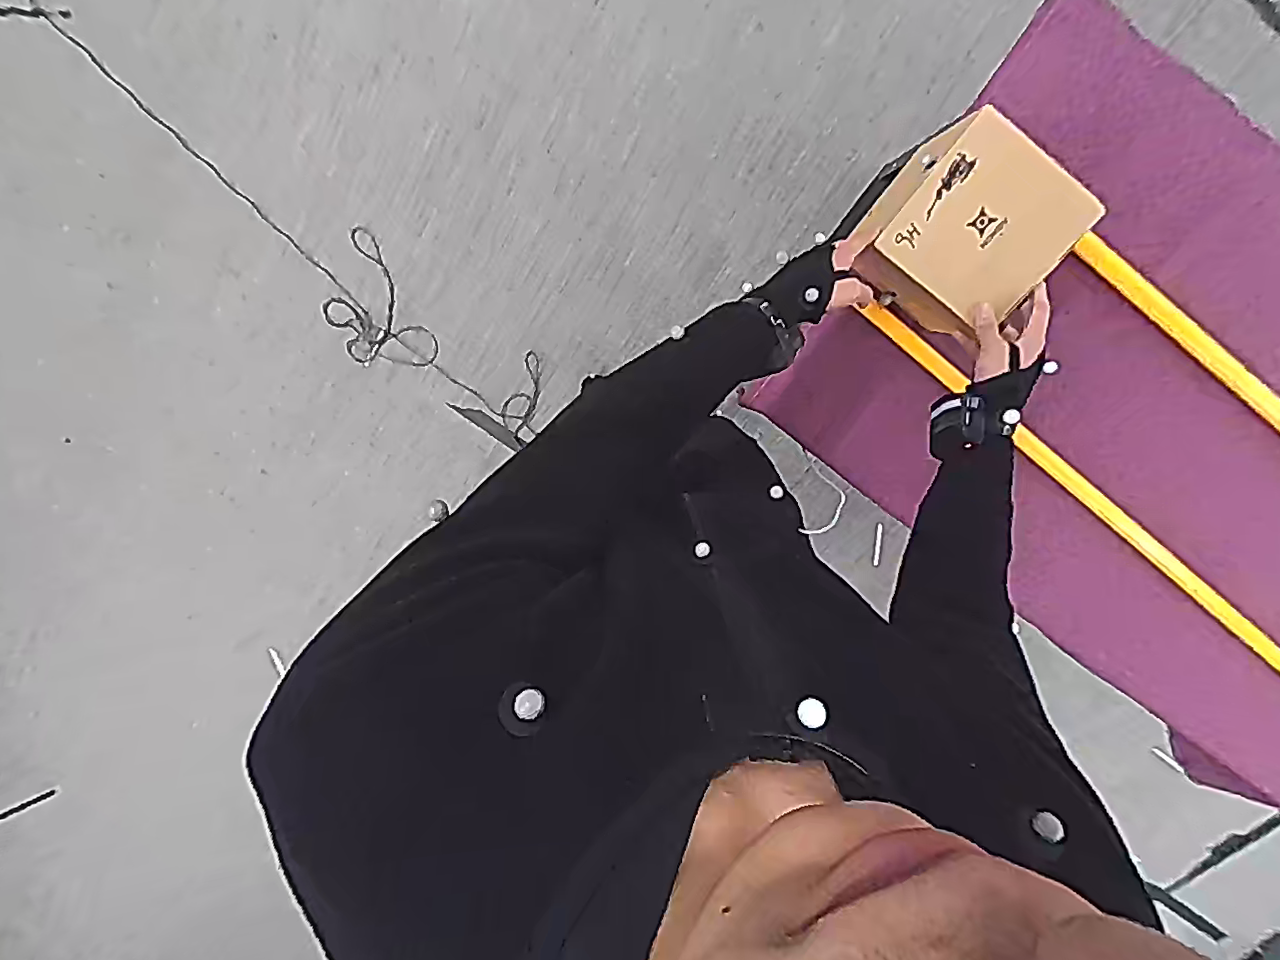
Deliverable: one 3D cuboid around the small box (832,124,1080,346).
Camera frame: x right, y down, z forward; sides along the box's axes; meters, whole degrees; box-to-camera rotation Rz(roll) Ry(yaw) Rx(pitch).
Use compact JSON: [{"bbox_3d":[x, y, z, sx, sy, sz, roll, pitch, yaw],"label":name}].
[{"bbox_3d":[0.376,-0.296,0.680,0.179,0.176,0.168,36,109,-8],"label":"small box"}]
